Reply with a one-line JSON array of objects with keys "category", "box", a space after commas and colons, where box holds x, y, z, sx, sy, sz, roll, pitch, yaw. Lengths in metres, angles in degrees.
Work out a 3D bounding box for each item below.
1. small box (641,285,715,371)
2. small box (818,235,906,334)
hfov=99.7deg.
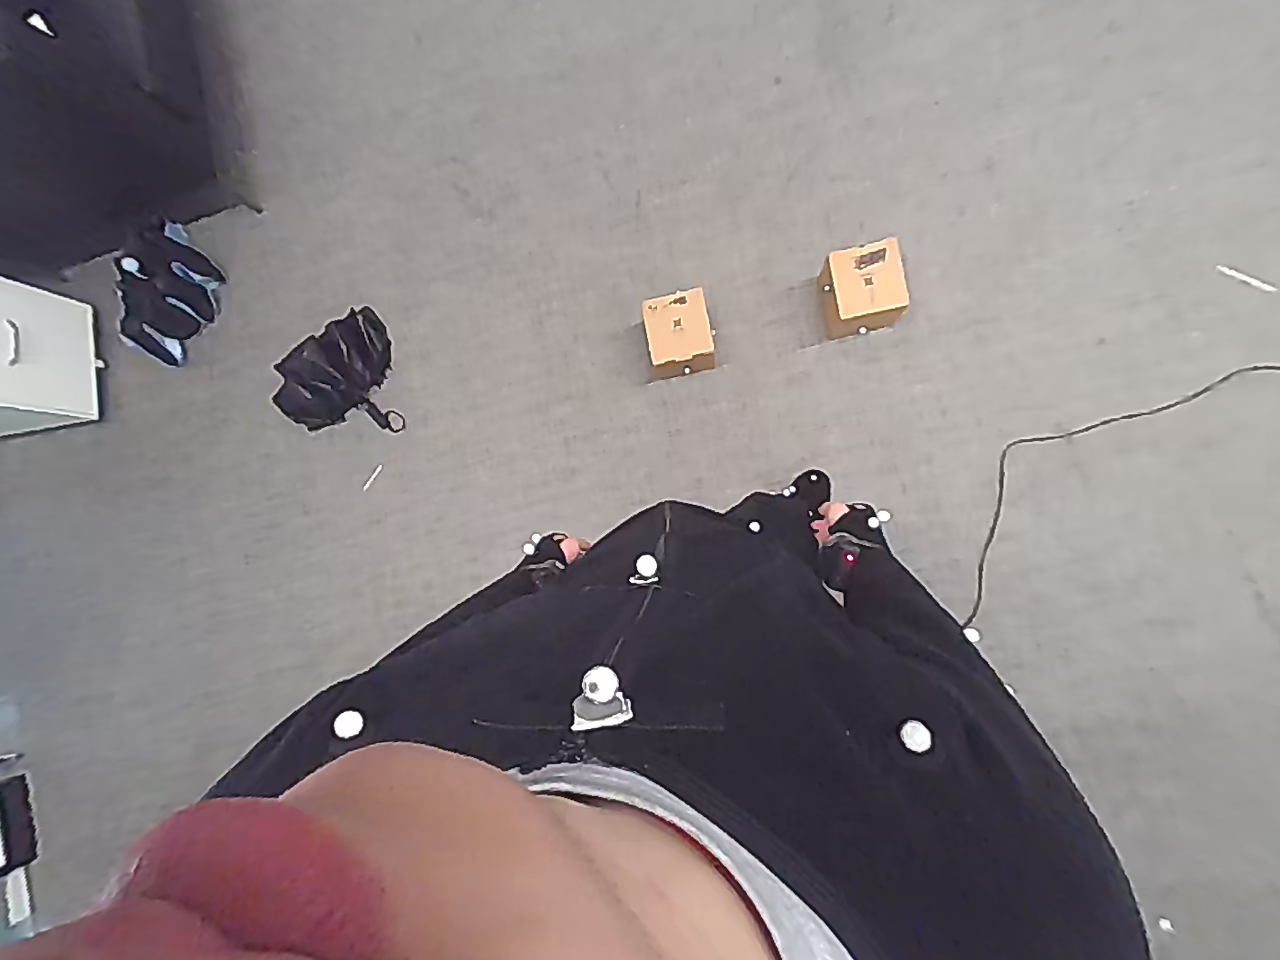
[{"category": "small box", "box": [0.110, -0.408, 1.494, 0.168, 0.176, 0.179, -11, 86, 10]}, {"category": "small box", "box": [0.571, -0.502, 1.412, 0.168, 0.176, 0.179, -10, 88, 11]}]
